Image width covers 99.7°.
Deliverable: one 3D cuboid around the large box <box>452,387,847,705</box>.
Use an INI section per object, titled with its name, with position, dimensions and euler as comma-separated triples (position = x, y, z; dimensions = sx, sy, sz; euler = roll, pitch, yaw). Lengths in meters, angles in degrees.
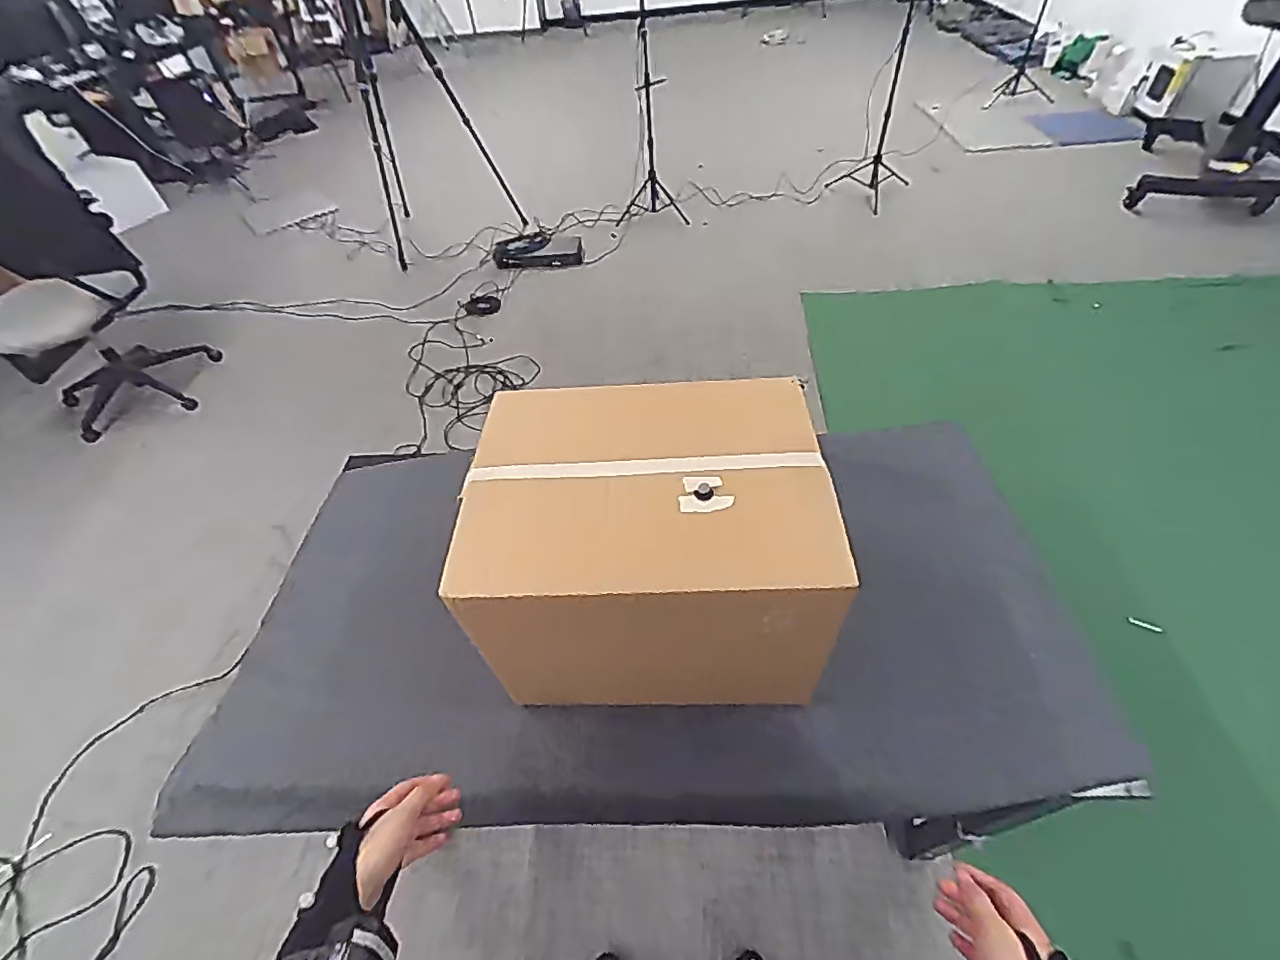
[large box]
position = 0.014, 0.097, 0.742
dimensions = 0.408, 0.320, 0.320
euler = -2, 49, 3
